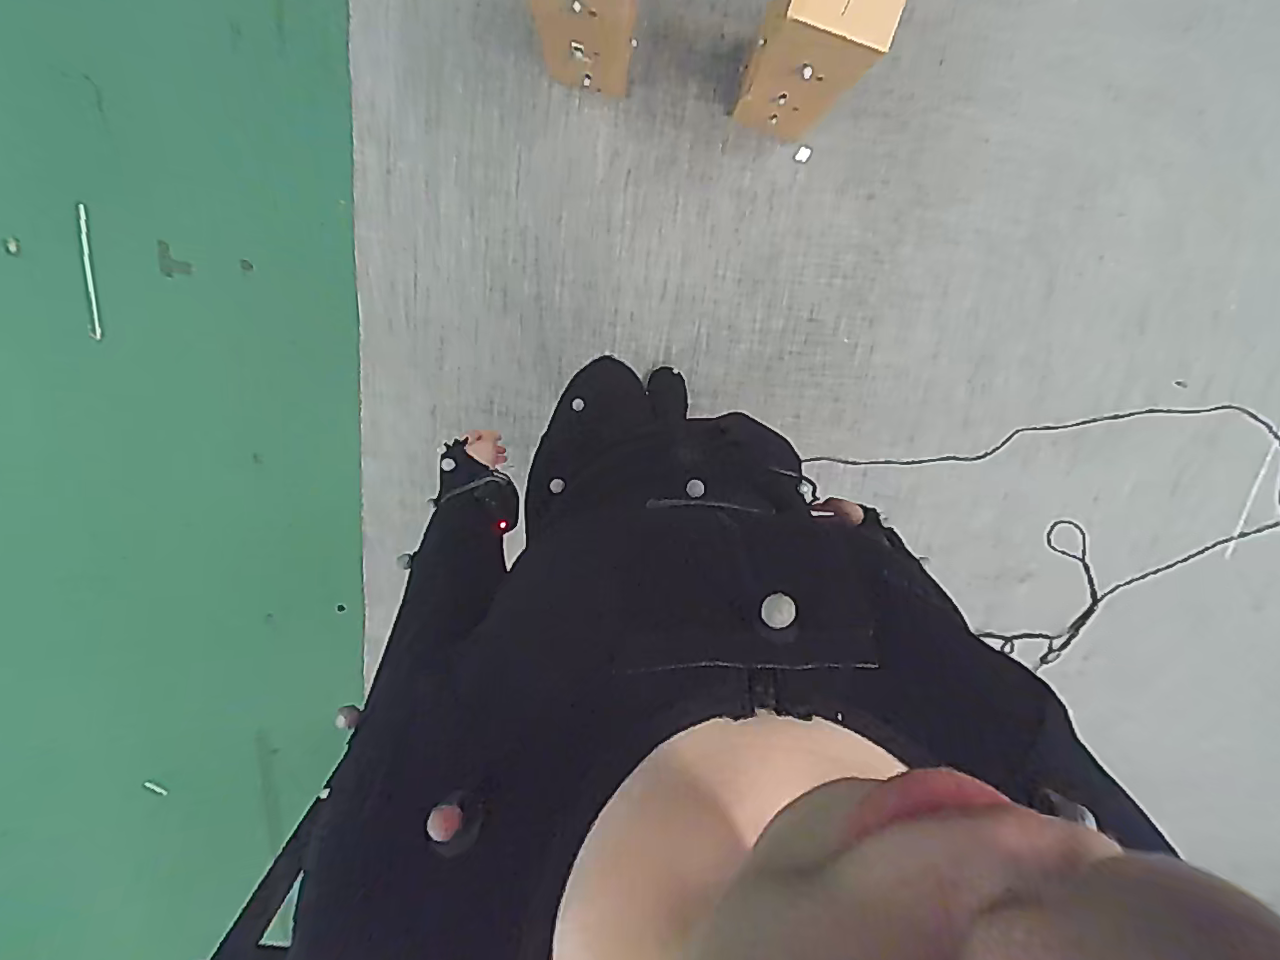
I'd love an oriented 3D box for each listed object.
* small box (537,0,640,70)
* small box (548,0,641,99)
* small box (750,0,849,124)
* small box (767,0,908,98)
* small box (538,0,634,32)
[{"bbox_3d":[-0.087,-0.904,0.998,0.168,0.176,0.179,8,108,-2],"label":"small box"},{"bbox_3d":[-0.091,-0.952,1.153,0.168,0.176,0.179,11,107,-4],"label":"small box"},{"bbox_3d":[0.322,-0.819,1.025,0.168,0.176,0.179,14,107,-5],"label":"small box"},{"bbox_3d":[0.320,-0.763,0.871,0.168,0.176,0.179,16,108,-5],"label":"small box"},{"bbox_3d":[-0.085,-0.853,0.840,0.168,0.176,0.179,9,106,-1],"label":"small box"}]
